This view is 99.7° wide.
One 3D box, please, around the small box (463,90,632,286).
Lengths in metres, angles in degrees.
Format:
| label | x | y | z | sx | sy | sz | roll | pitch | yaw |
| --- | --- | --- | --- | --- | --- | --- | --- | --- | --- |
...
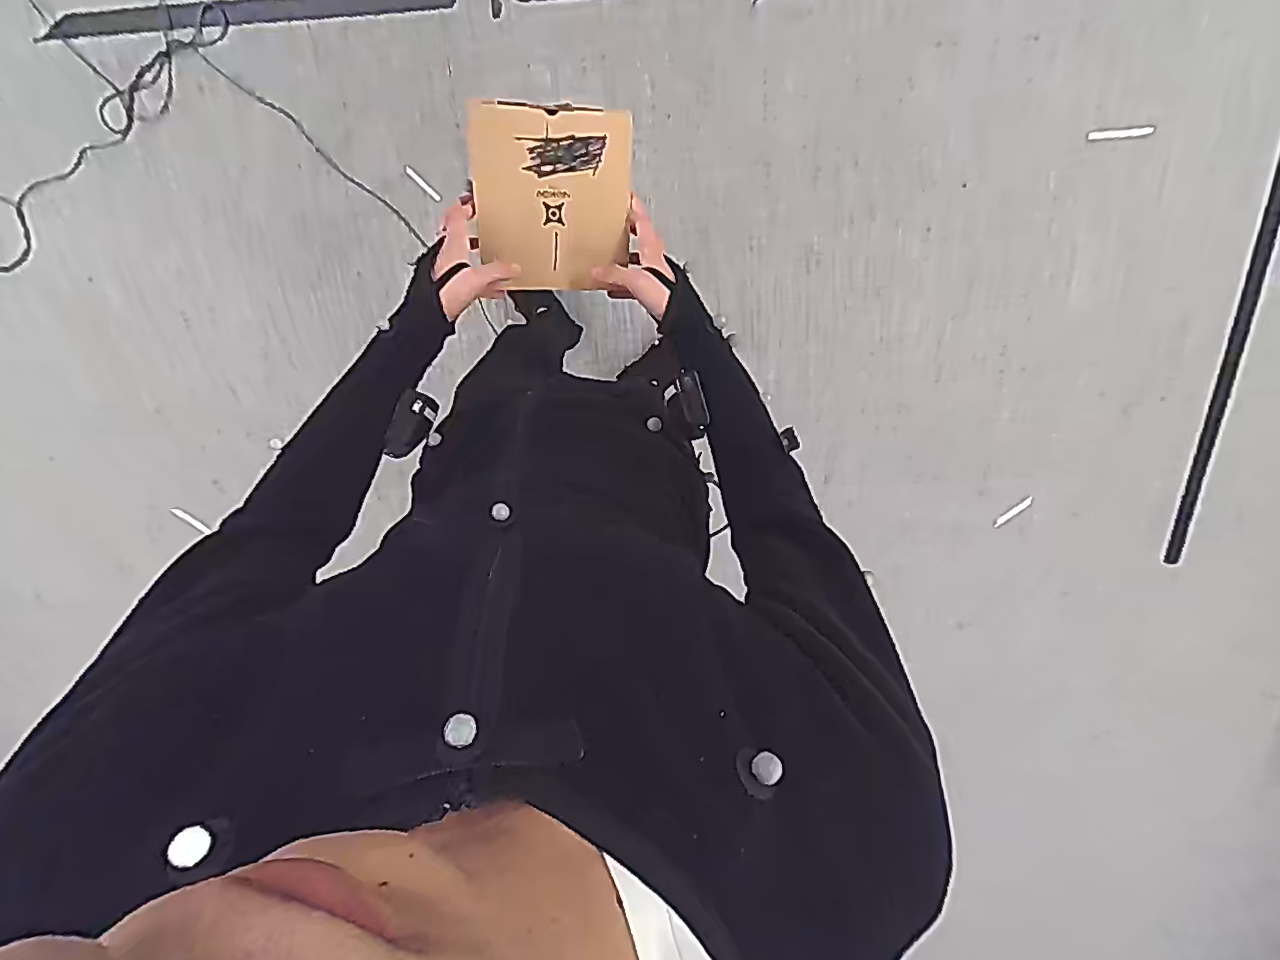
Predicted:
| label | x | y | z | sx | sy | sz | roll | pitch | yaw |
| --- | --- | --- | --- | --- | --- | --- | --- | --- | --- |
| small box | -0.107 | -0.331 | 0.626 | 0.168 | 0.176 | 0.179 | -4 | 121 | -11 |
